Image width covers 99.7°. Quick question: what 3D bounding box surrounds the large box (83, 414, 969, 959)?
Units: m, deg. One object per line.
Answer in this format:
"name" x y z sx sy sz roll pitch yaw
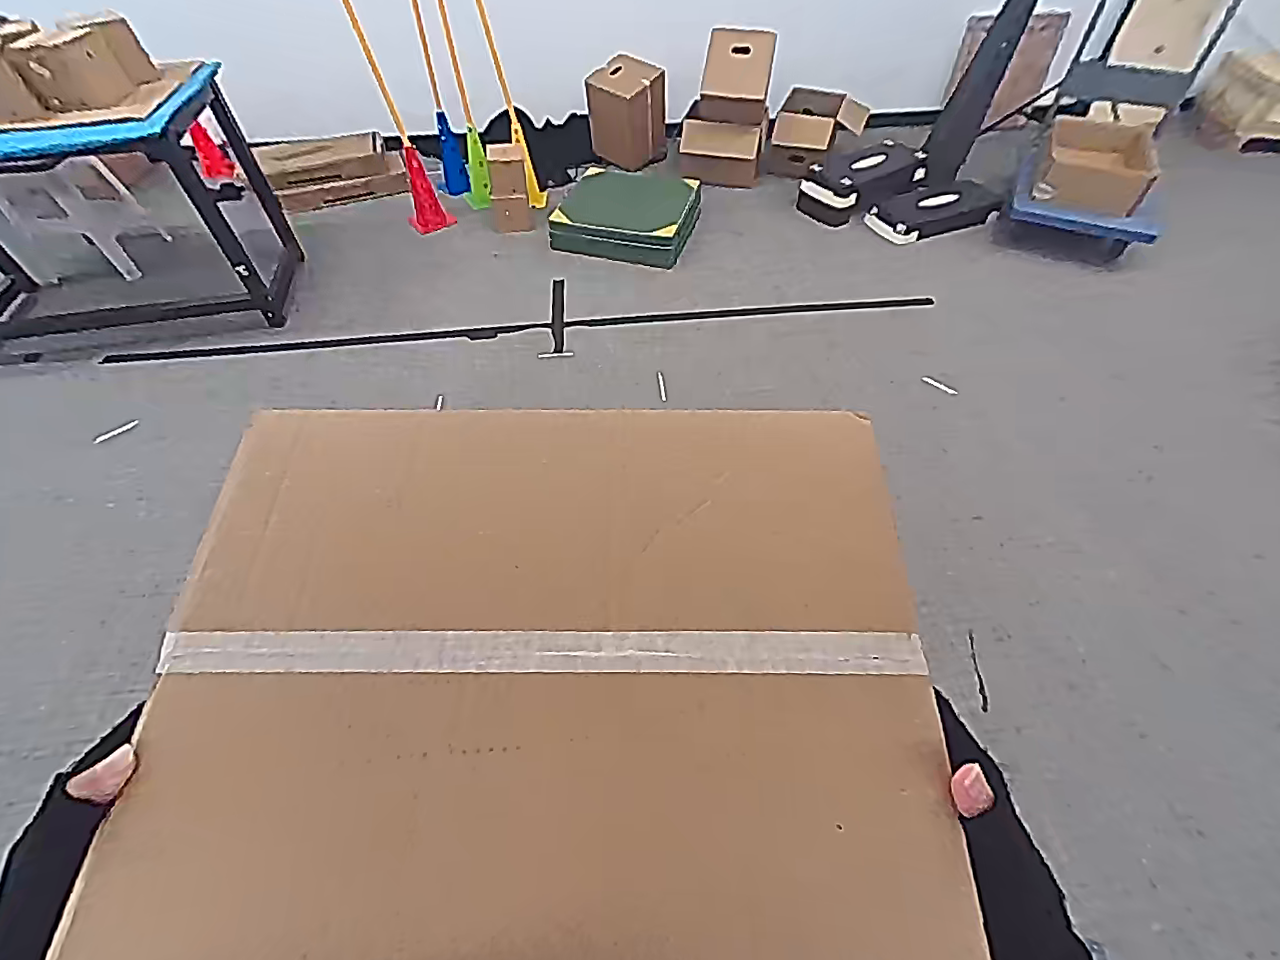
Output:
"large box" -0.052 0.161 0.435 0.408 0.320 0.320 0 64 1
